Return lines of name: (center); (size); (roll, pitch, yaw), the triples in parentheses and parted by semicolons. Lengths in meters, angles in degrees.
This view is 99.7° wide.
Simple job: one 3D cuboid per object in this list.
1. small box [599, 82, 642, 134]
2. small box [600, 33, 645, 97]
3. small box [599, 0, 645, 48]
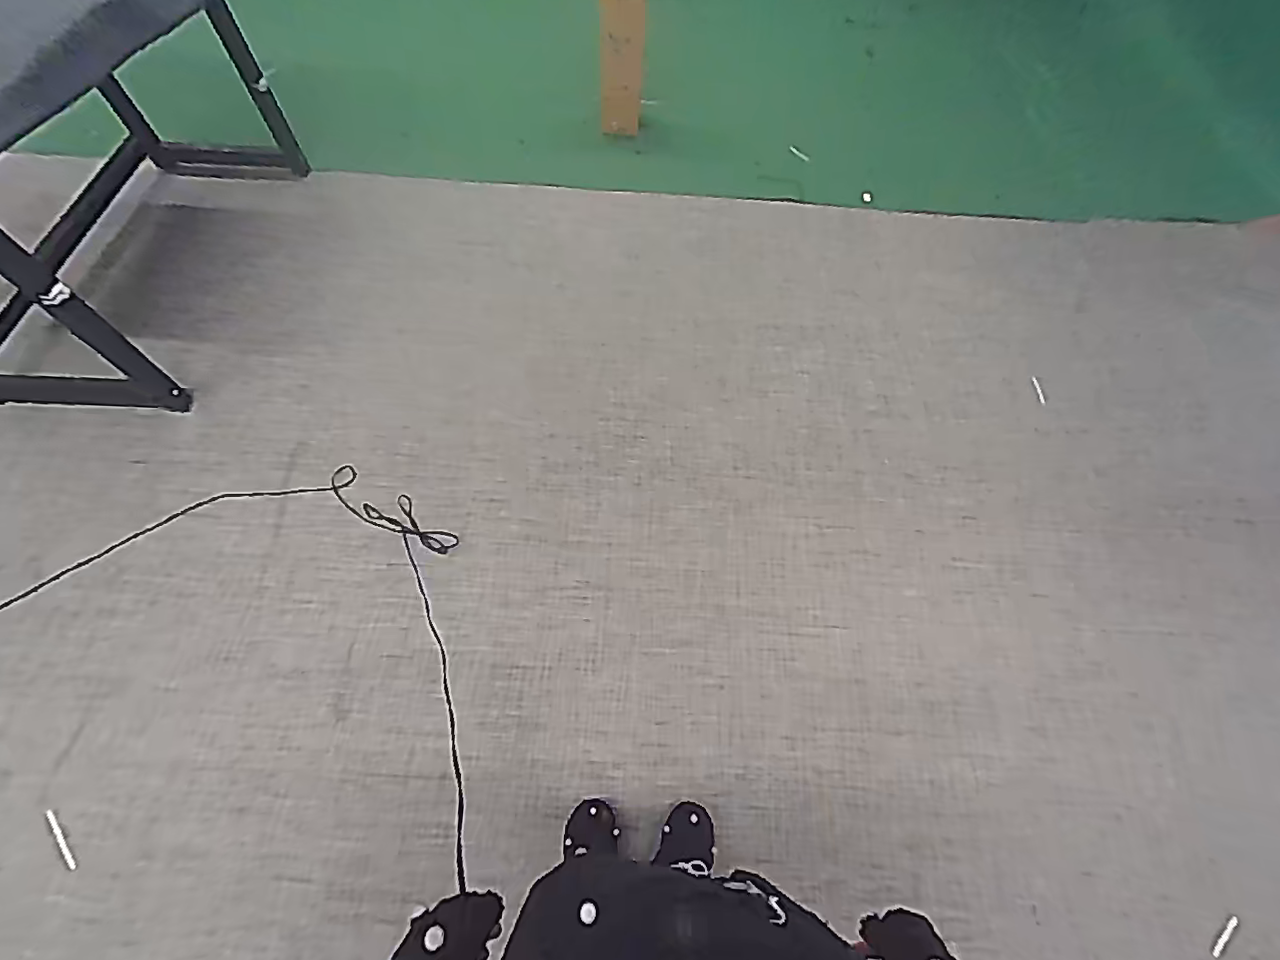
small box: (-0.081, -1.611, 2.301); (0.168, 0.176, 0.179); (4, 62, 1)
small box: (-0.072, -1.680, 2.174); (0.168, 0.176, 0.179); (4, 61, 0)
small box: (-0.064, -1.760, 2.030); (0.168, 0.176, 0.179); (2, 61, -1)
